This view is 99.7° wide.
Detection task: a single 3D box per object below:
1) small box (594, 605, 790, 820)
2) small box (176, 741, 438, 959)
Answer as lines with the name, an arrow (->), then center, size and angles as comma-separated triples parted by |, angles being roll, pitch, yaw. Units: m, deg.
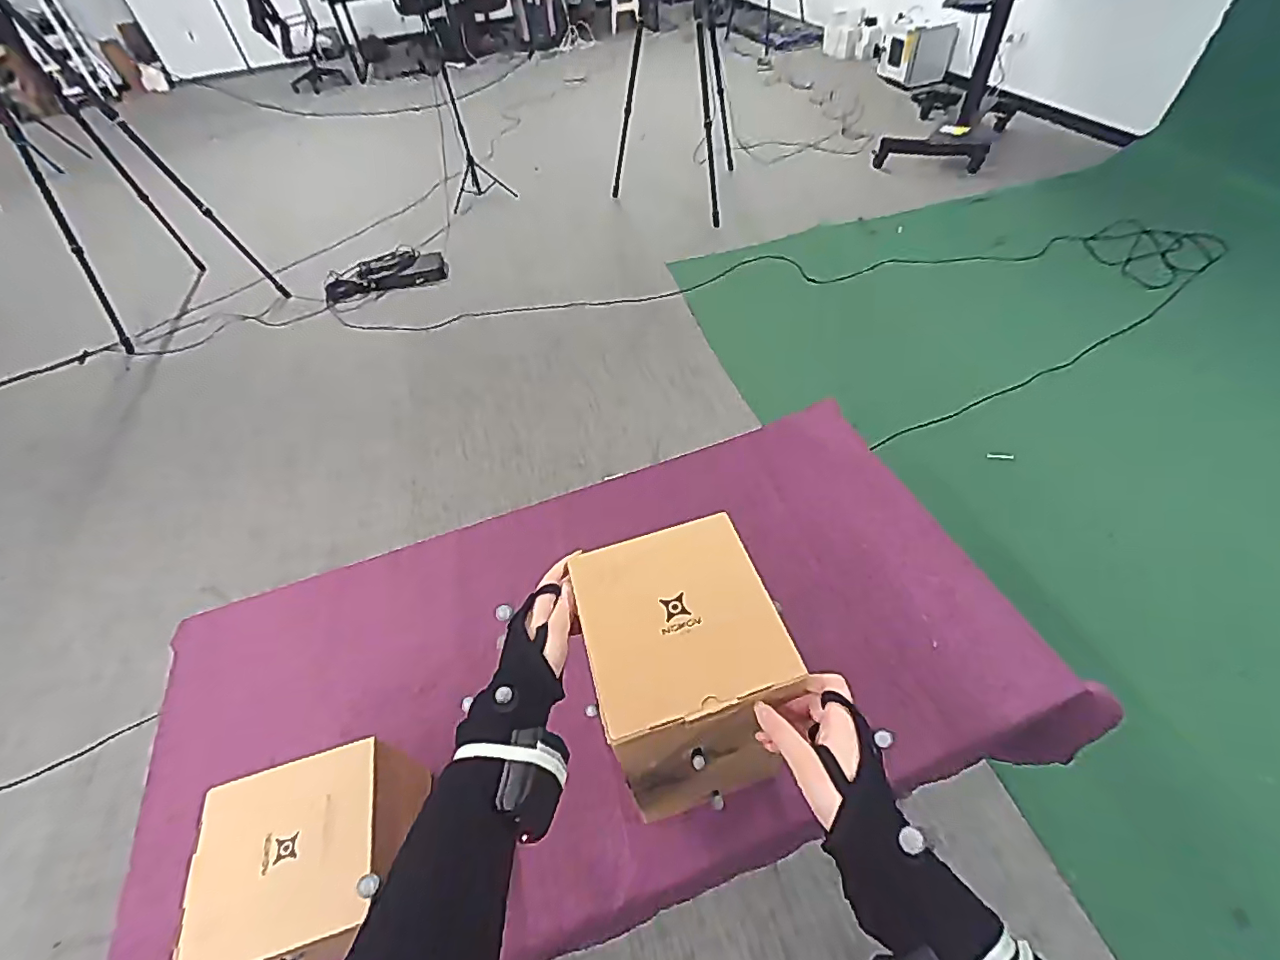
small box -> 0.055, 0.283, 0.654 | 0.179, 0.176, 0.168 | -17, 49, -8
small box -> -0.339, 0.416, 0.587 | 0.179, 0.176, 0.168 | -16, 50, -8
